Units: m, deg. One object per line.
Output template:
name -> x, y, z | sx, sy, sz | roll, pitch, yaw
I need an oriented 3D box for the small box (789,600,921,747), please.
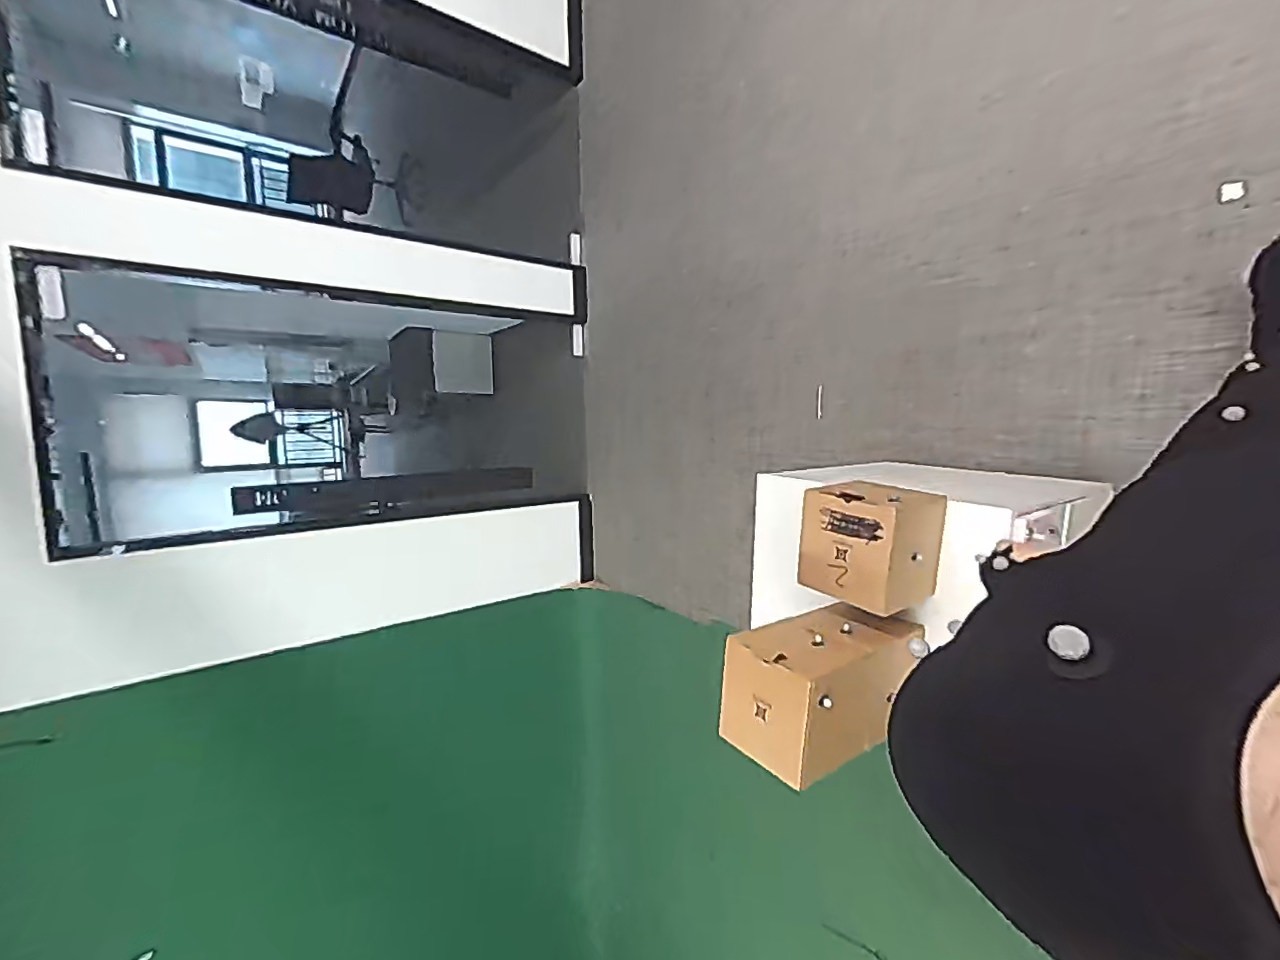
small box -> 0.383, 0.334, 0.974 | 0.168, 0.176, 0.179 | 10, 101, 52

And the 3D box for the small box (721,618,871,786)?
small box -> 0.252, 0.345, 0.878 | 0.168, 0.176, 0.179 | 13, 102, 52
